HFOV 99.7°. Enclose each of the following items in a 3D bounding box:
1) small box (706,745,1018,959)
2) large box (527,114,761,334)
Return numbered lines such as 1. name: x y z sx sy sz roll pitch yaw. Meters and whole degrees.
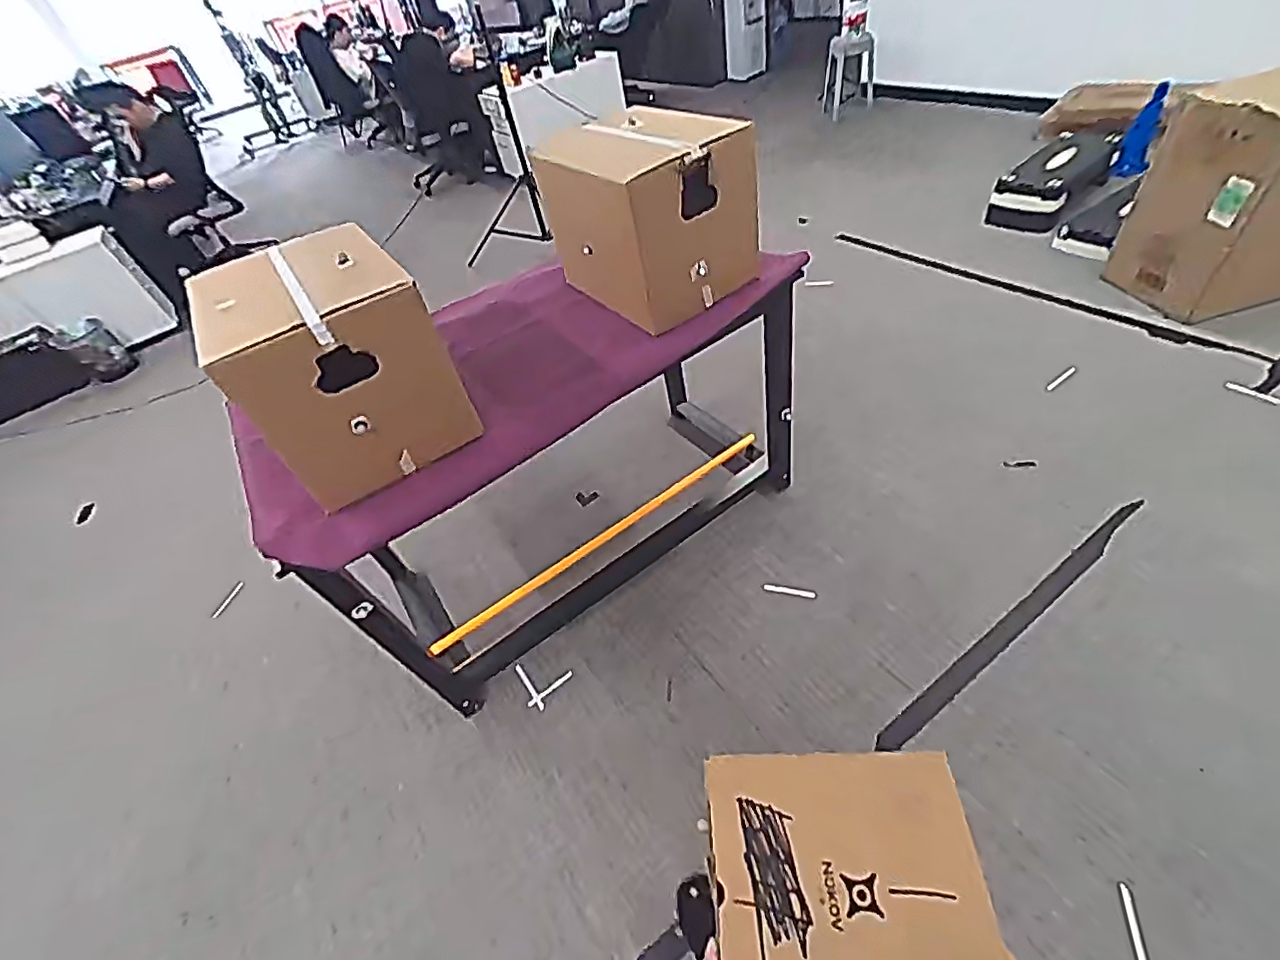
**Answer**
1. small box: 0.145 0.307 0.407 0.179 0.176 0.168 -4 52 6
2. large box: 0.015 -0.578 1.203 0.320 0.320 0.408 -33 47 -18
